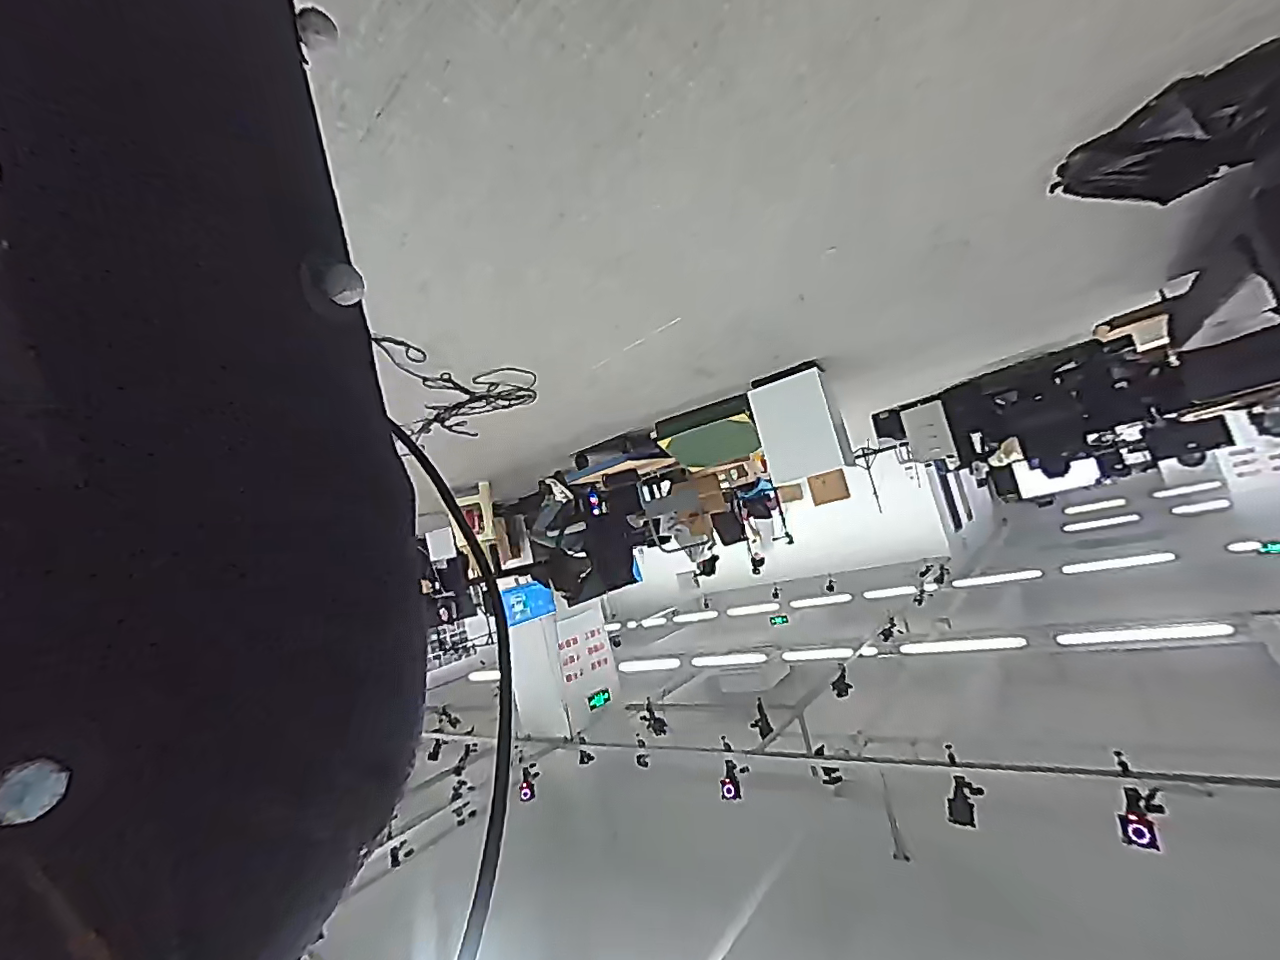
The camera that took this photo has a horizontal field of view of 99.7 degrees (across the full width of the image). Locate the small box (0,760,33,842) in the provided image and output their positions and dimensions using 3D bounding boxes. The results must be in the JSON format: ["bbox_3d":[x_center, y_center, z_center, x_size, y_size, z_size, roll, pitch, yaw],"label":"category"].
[{"bbox_3d":[-1.572,0.774,1.270,0.179,0.176,0.168,-7,169,-46],"label":"small box"}]
